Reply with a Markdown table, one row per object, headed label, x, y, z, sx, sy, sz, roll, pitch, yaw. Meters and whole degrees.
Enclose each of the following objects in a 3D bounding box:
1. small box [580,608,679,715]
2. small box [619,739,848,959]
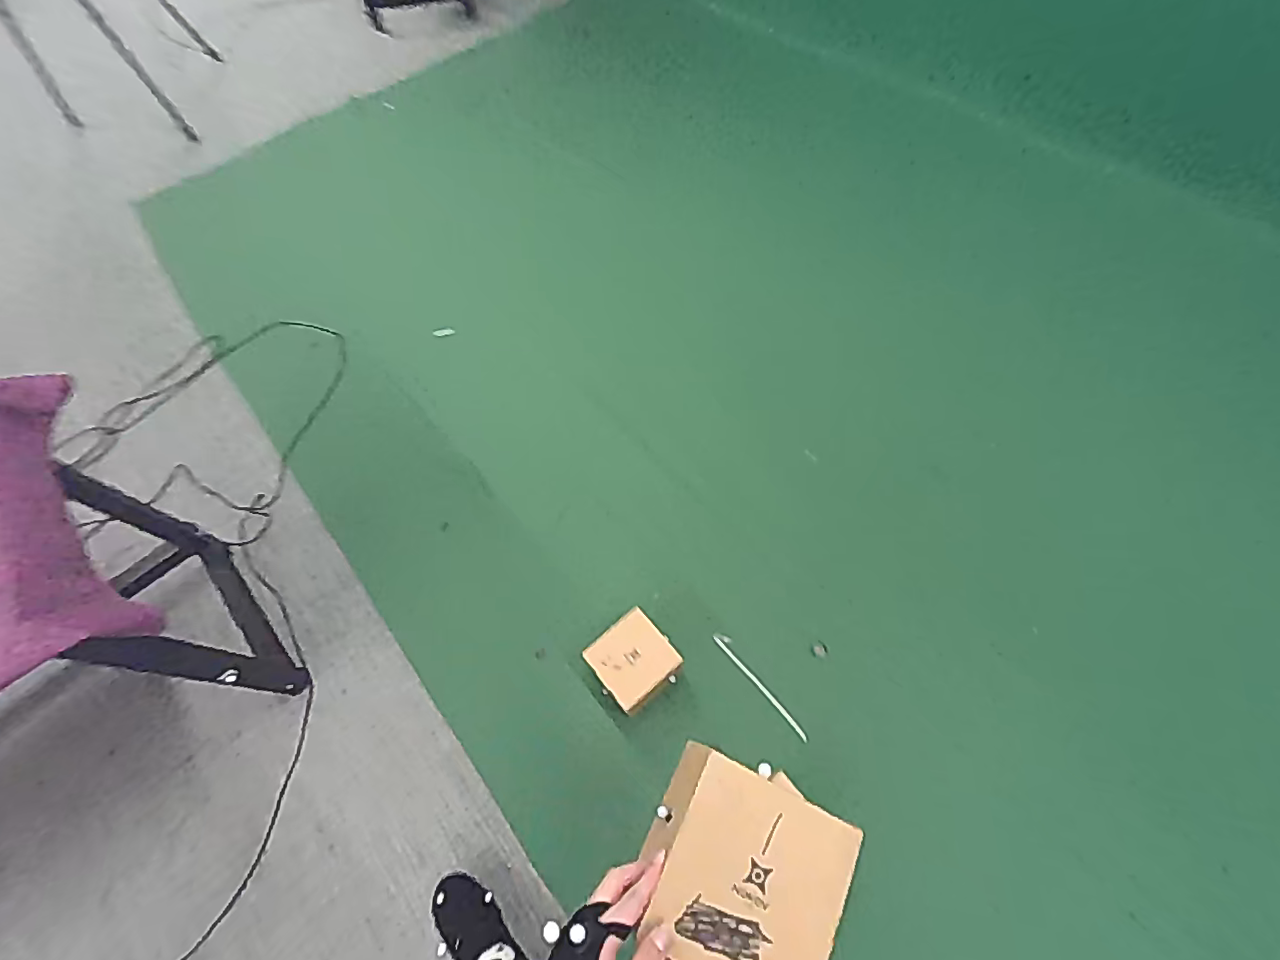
| label | x | y | z | sx | sy | sz | roll | pitch | yaw |
| --- | --- | --- | --- | --- | --- | --- | --- | --- | --- |
| small box | -0.023 | 0.447 | 1.323 | 0.179 | 0.176 | 0.168 | -37 | 65 | -15 |
| small box | 0.088 | 0.401 | 0.575 | 0.168 | 0.176 | 0.179 | 26 | 67 | 7 |
